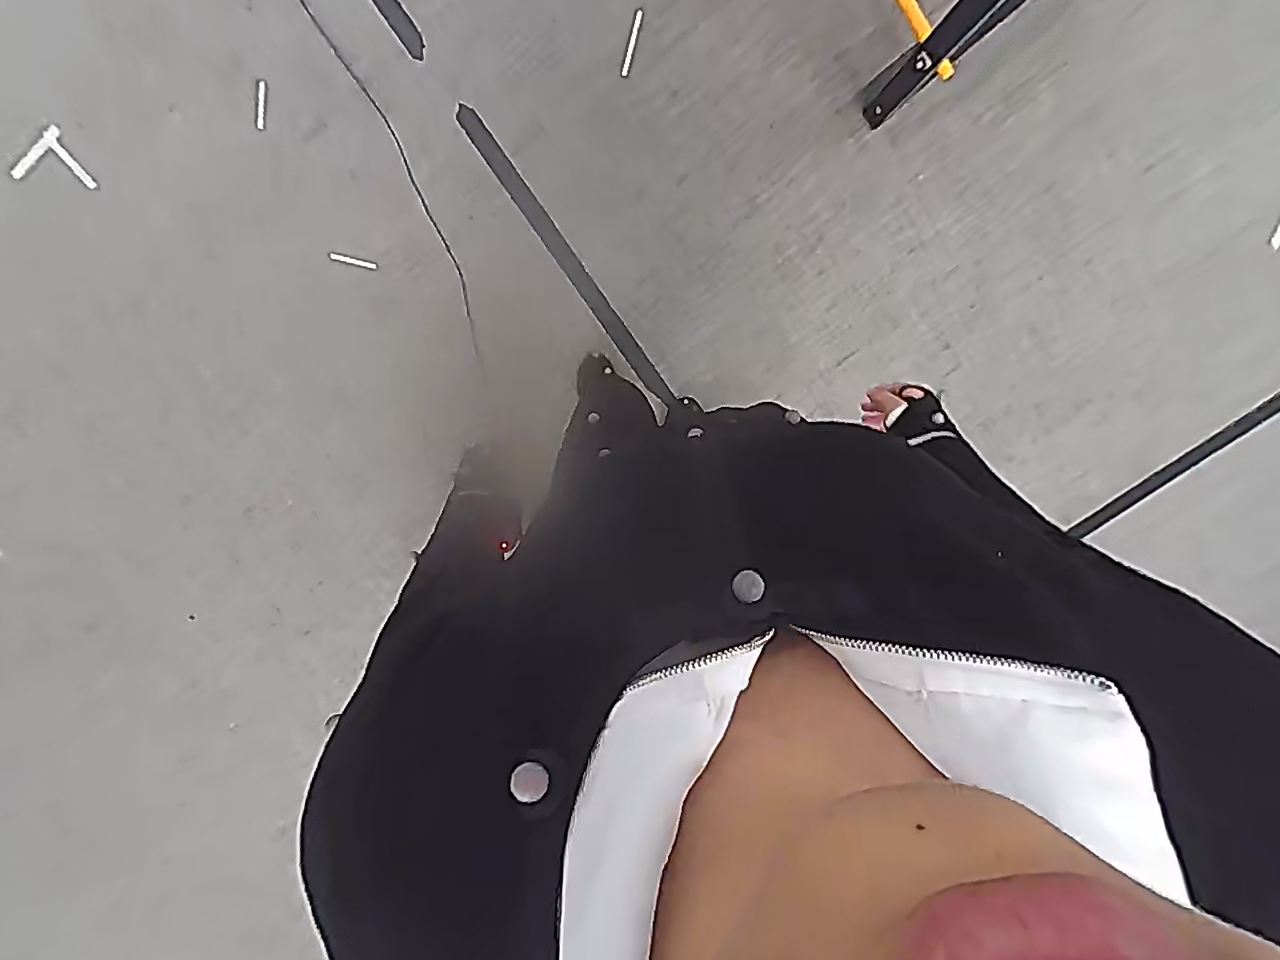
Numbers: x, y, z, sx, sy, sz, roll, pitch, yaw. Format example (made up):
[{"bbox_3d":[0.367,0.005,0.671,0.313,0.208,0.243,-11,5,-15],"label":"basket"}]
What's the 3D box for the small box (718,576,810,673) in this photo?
[{"bbox_3d":[0.334,0.390,1.503,0.168,0.176,0.179,-39,98,8],"label":"small box"}]
